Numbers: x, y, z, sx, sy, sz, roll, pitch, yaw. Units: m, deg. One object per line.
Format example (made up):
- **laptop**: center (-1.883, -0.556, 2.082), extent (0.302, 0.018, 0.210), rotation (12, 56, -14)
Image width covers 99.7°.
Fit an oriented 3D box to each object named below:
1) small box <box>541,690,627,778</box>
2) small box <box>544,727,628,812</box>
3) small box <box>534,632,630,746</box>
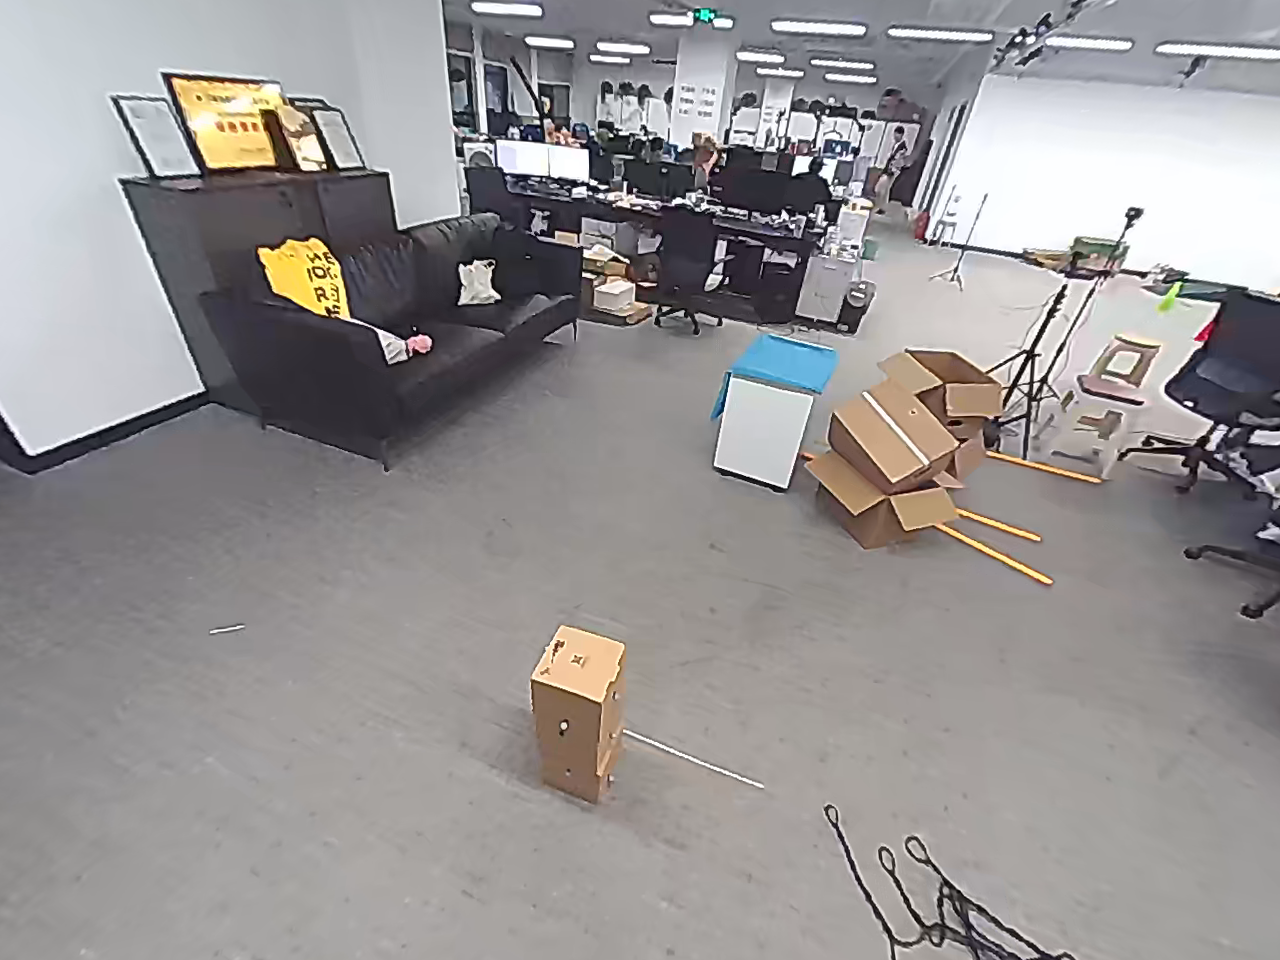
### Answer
- **small box**: center (-0.146, 0.629, 1.394), extent (0.179, 0.176, 0.168), rotation (15, 36, 15)
- **small box**: center (-0.148, 0.768, 1.482), extent (0.179, 0.176, 0.168), rotation (15, 35, 15)
- **small box**: center (-0.136, 0.502, 1.291), extent (0.179, 0.176, 0.168), rotation (14, 35, 13)
